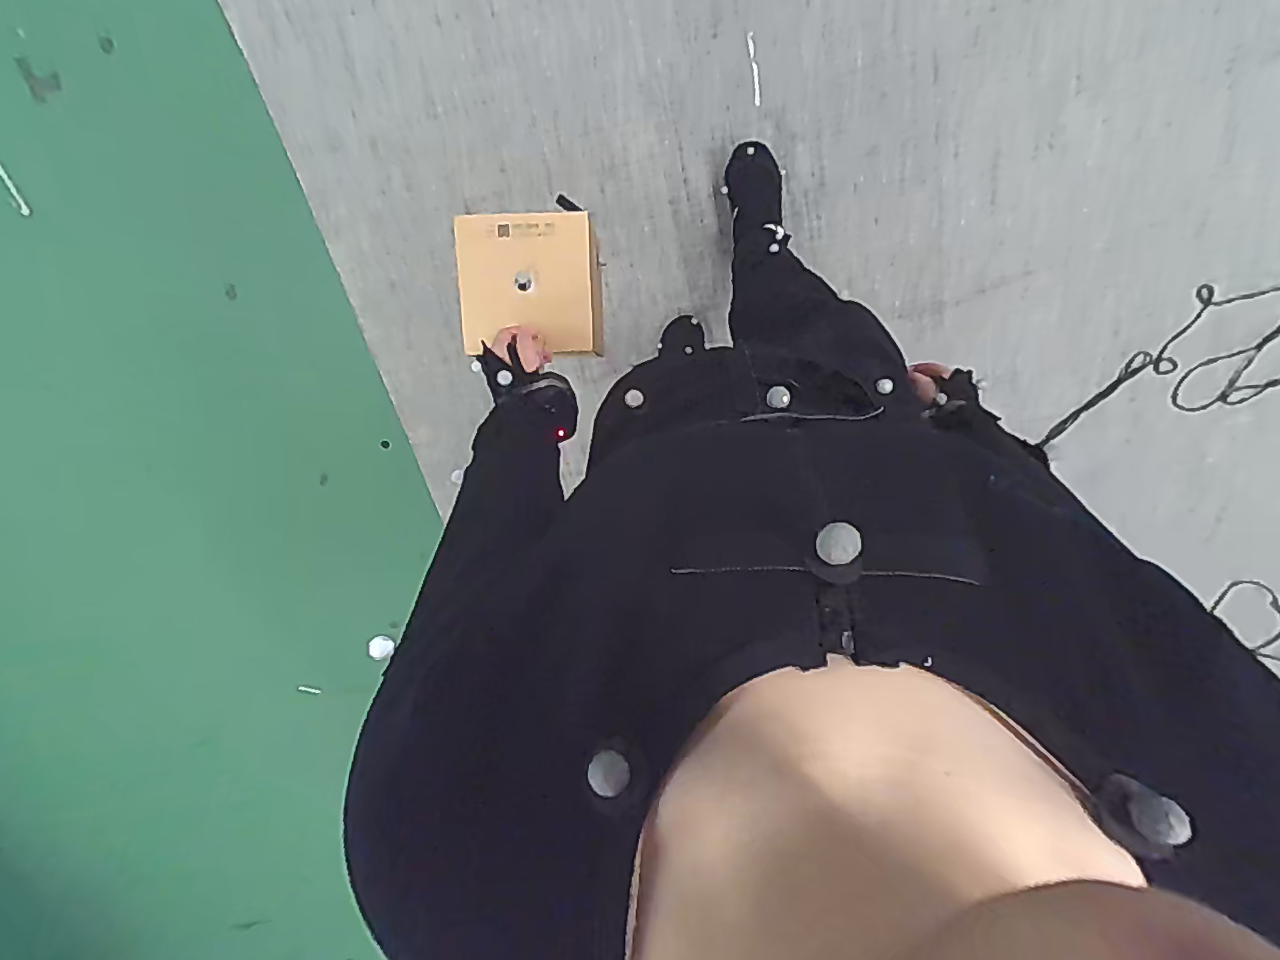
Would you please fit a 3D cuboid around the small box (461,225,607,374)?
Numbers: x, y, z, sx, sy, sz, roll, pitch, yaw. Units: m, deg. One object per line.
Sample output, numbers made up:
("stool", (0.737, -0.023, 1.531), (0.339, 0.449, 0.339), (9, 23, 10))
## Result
("small box", (-0.138, -0.245, 0.753), (0.168, 0.179, 0.176), (-3, 97, 2))
